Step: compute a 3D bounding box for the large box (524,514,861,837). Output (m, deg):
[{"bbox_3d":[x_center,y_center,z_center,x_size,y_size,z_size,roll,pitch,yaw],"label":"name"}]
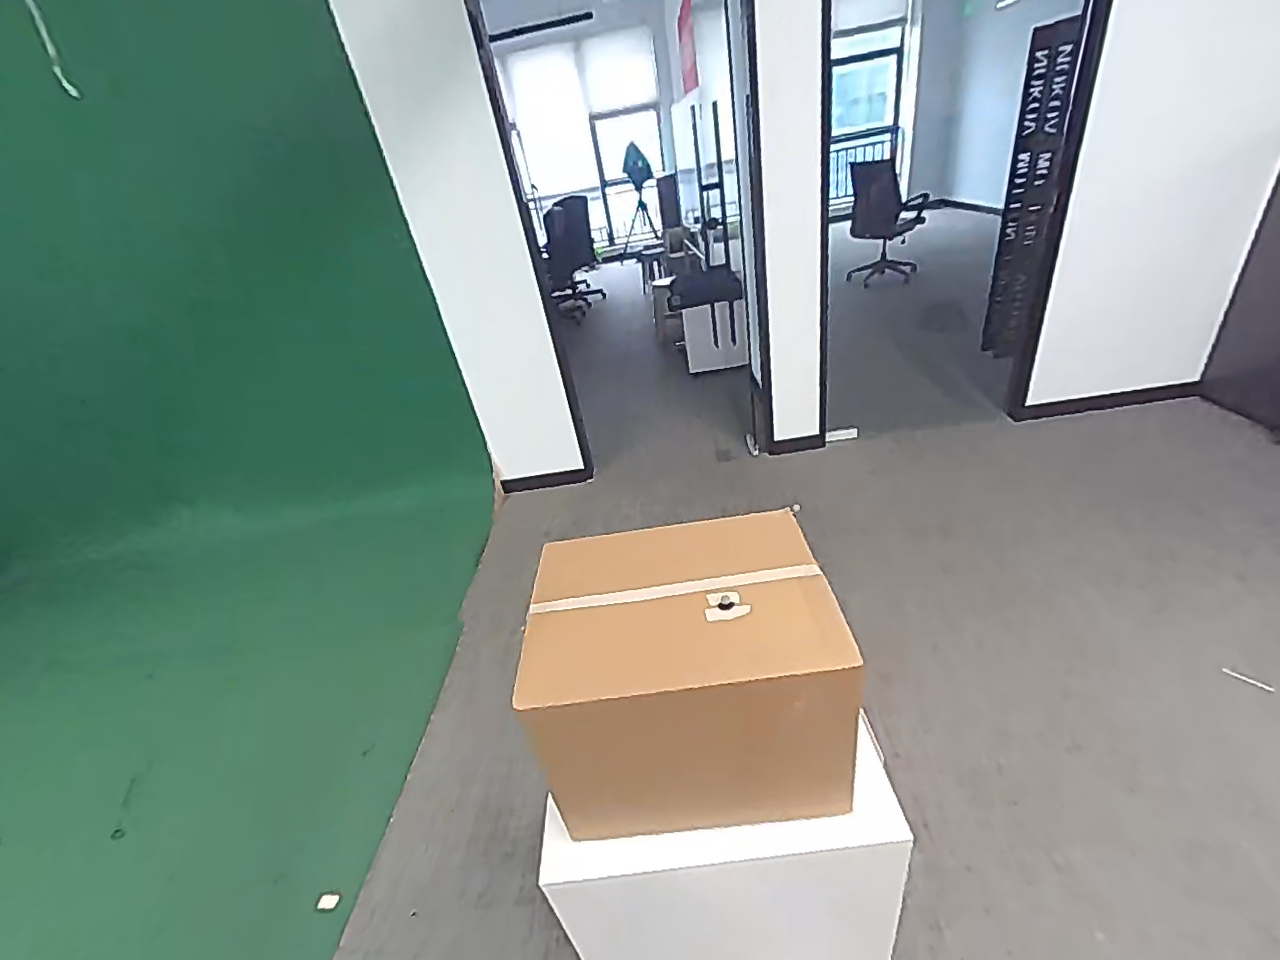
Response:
[{"bbox_3d":[0.071,0.286,0.823,0.408,0.320,0.320,-8,31,3],"label":"large box"}]
